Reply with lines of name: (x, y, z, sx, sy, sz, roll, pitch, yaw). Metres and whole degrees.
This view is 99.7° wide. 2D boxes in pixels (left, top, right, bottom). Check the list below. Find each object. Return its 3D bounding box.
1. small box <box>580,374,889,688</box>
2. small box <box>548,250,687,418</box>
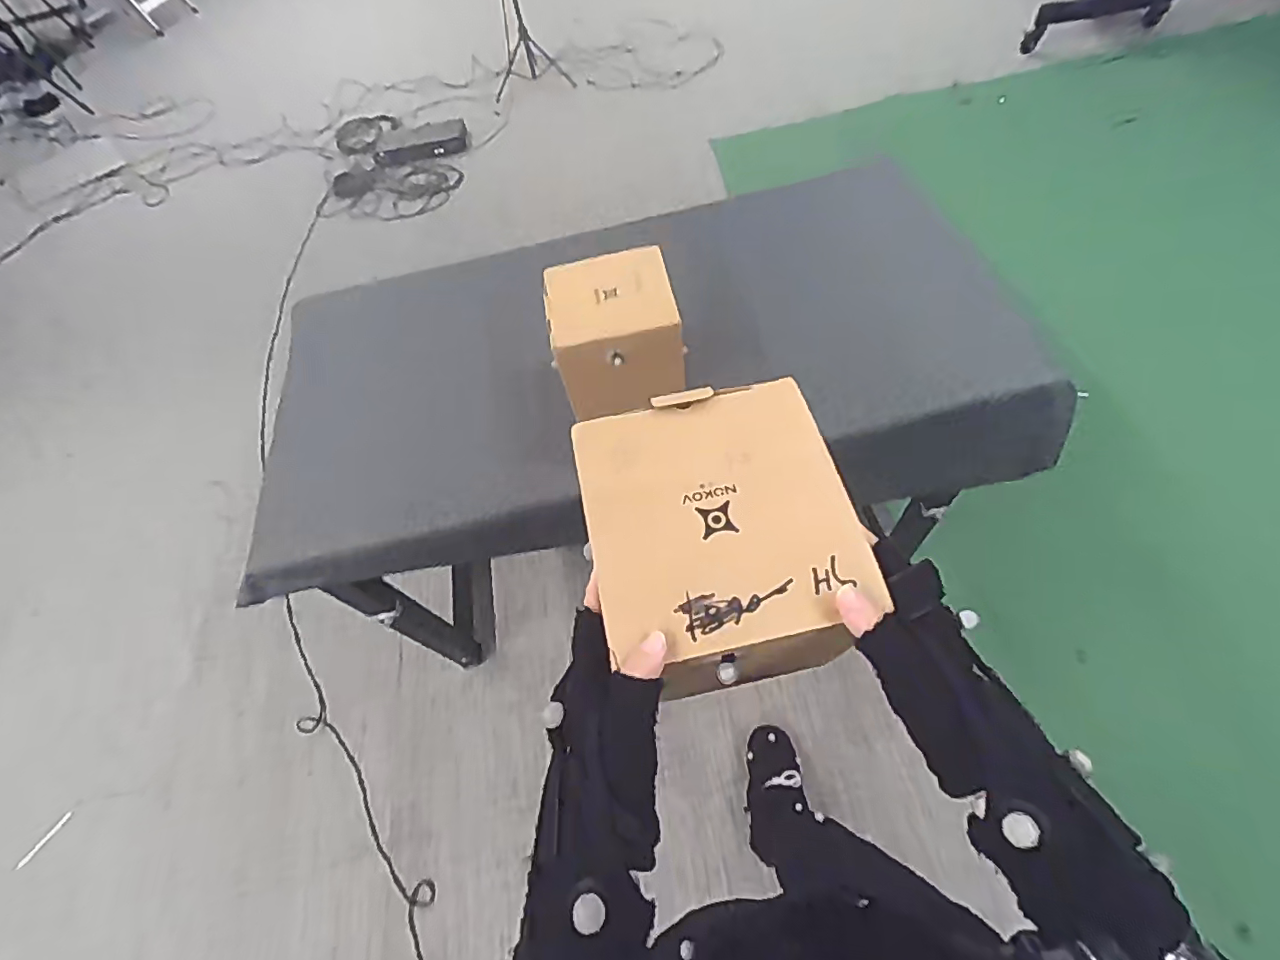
small box: (0.057, 0.049, 0.430, 0.168, 0.176, 0.179, -14, 63, -3)
small box: (-0.031, -0.215, 0.827, 0.179, 0.176, 0.168, -11, 59, 1)
